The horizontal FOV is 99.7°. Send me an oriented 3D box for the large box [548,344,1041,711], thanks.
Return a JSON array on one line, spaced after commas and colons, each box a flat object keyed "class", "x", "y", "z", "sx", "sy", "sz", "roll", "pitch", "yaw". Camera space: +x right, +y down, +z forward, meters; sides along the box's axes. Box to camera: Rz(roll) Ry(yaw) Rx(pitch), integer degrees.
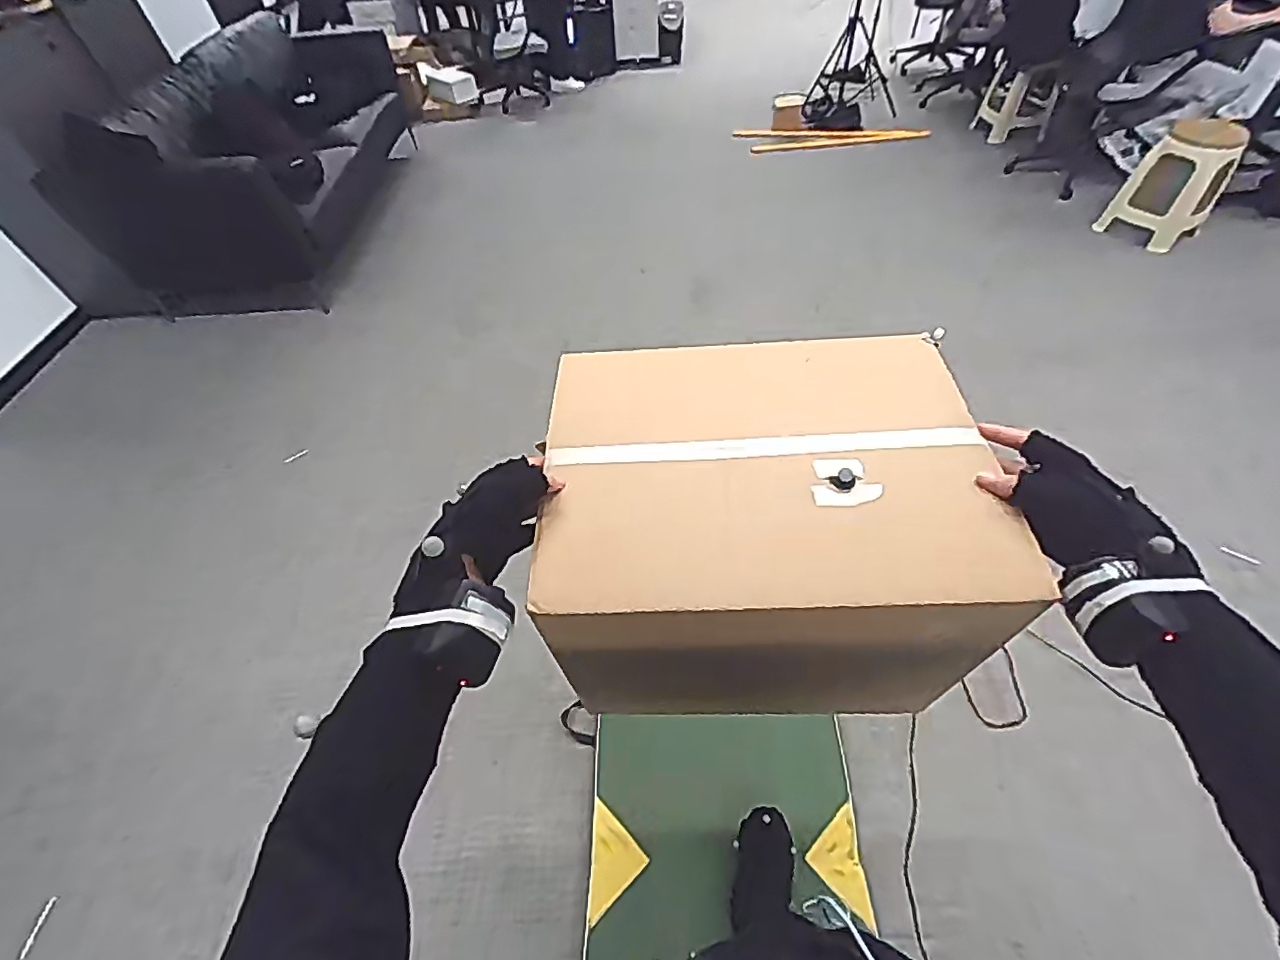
[{"class": "large box", "x": 0.127, "y": 0.067, "z": 0.640, "sx": 0.408, "sy": 0.320, "sz": 0.320, "roll": -2, "pitch": 53, "yaw": 3}]
